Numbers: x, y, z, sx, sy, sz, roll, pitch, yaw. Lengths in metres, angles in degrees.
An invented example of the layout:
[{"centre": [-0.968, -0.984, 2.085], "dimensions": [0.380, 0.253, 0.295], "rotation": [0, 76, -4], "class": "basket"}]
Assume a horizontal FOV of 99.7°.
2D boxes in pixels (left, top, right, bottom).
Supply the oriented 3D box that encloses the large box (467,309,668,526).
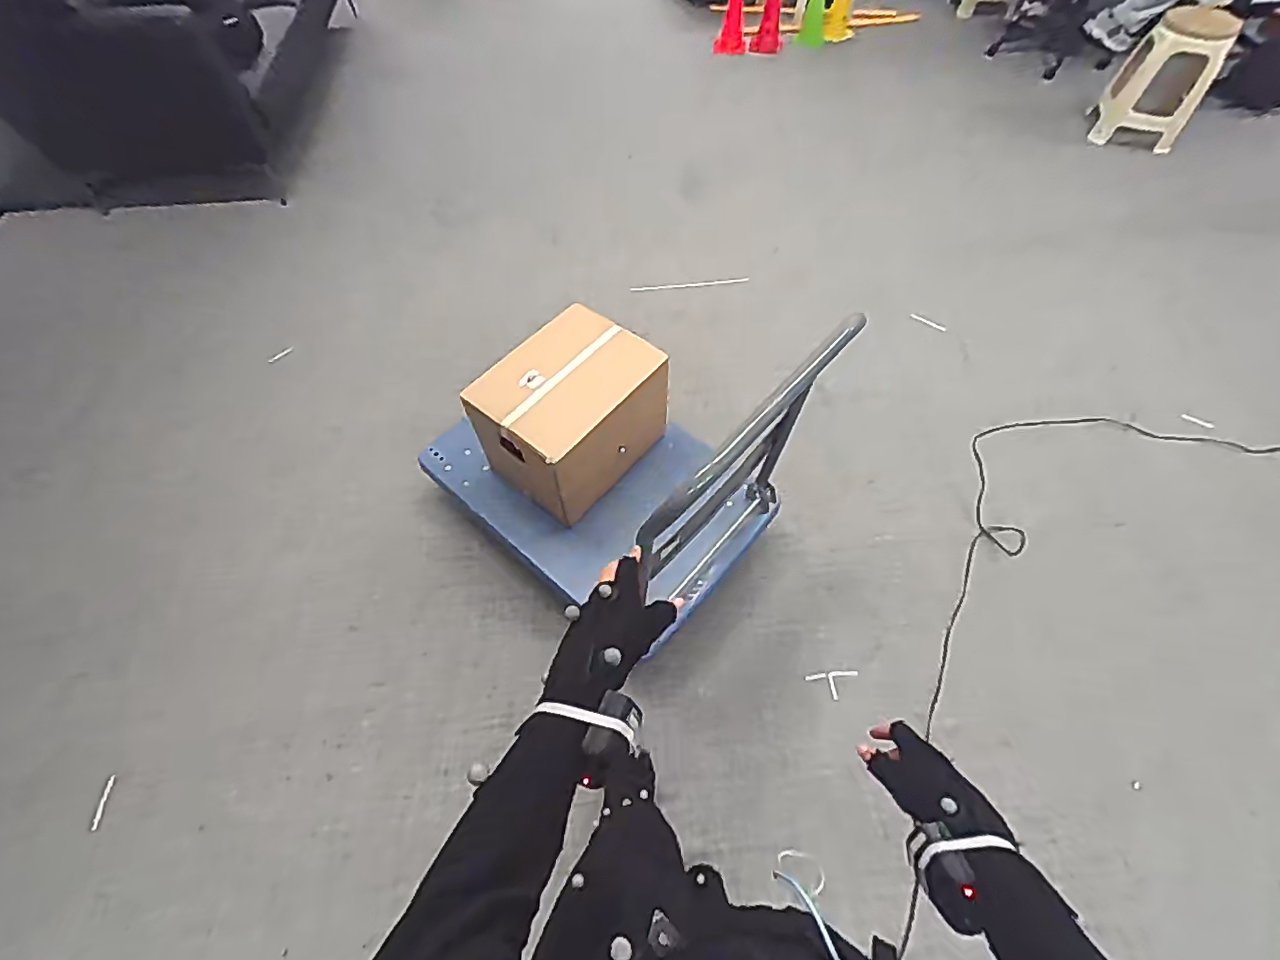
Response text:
[{"centre": [-0.166, -0.162, 1.417], "dimensions": [0.320, 0.320, 0.408], "rotation": [34, 65, 20], "class": "large box"}]
